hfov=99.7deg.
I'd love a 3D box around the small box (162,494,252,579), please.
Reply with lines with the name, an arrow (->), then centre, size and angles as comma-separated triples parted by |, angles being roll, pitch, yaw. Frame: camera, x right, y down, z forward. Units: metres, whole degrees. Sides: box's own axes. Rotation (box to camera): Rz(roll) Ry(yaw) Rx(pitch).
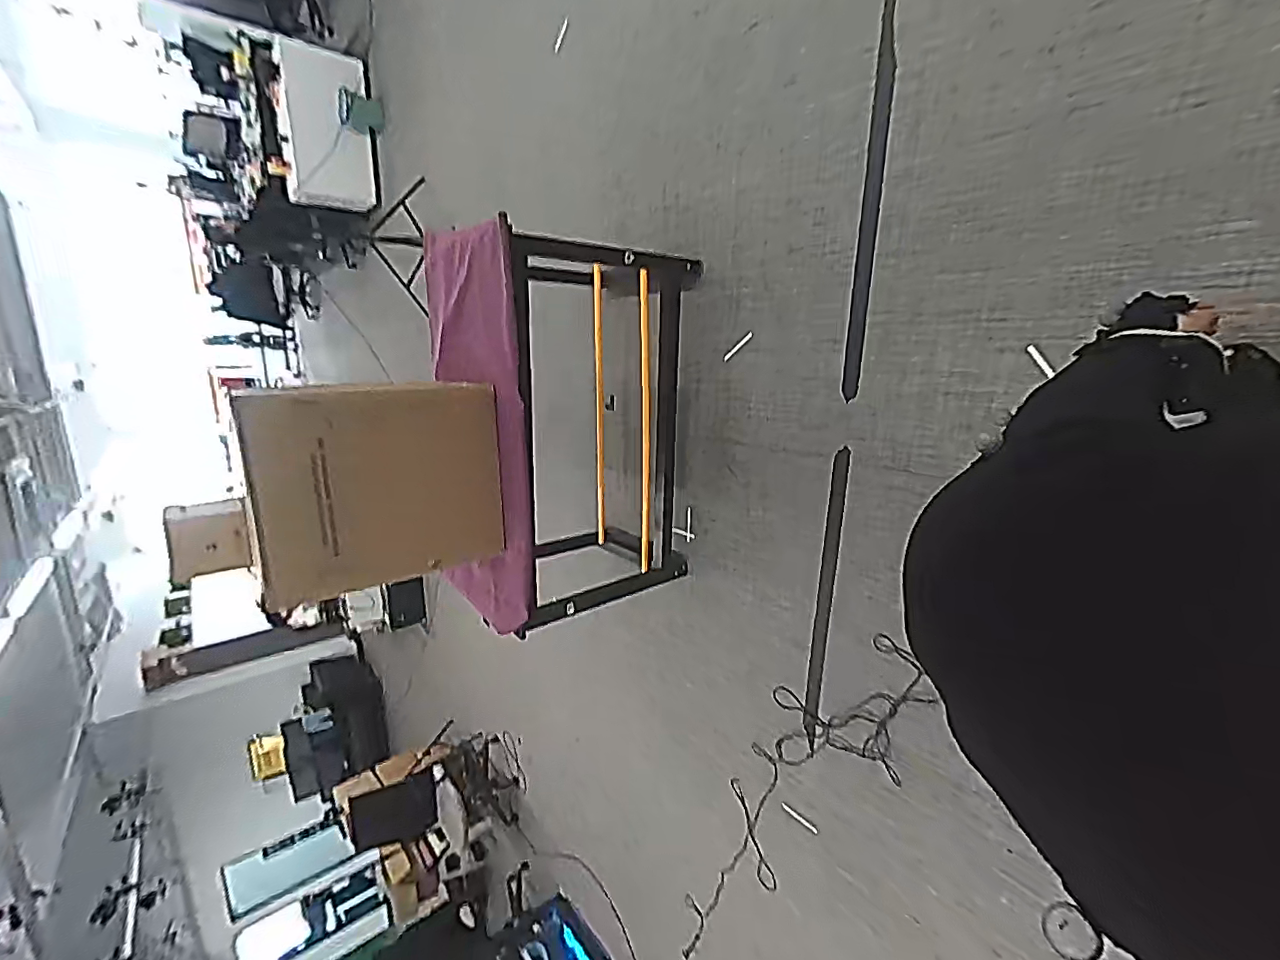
small box -> -1.153, 0.142, 1.446 | 0.179, 0.176, 0.168 | 19, 111, 48
